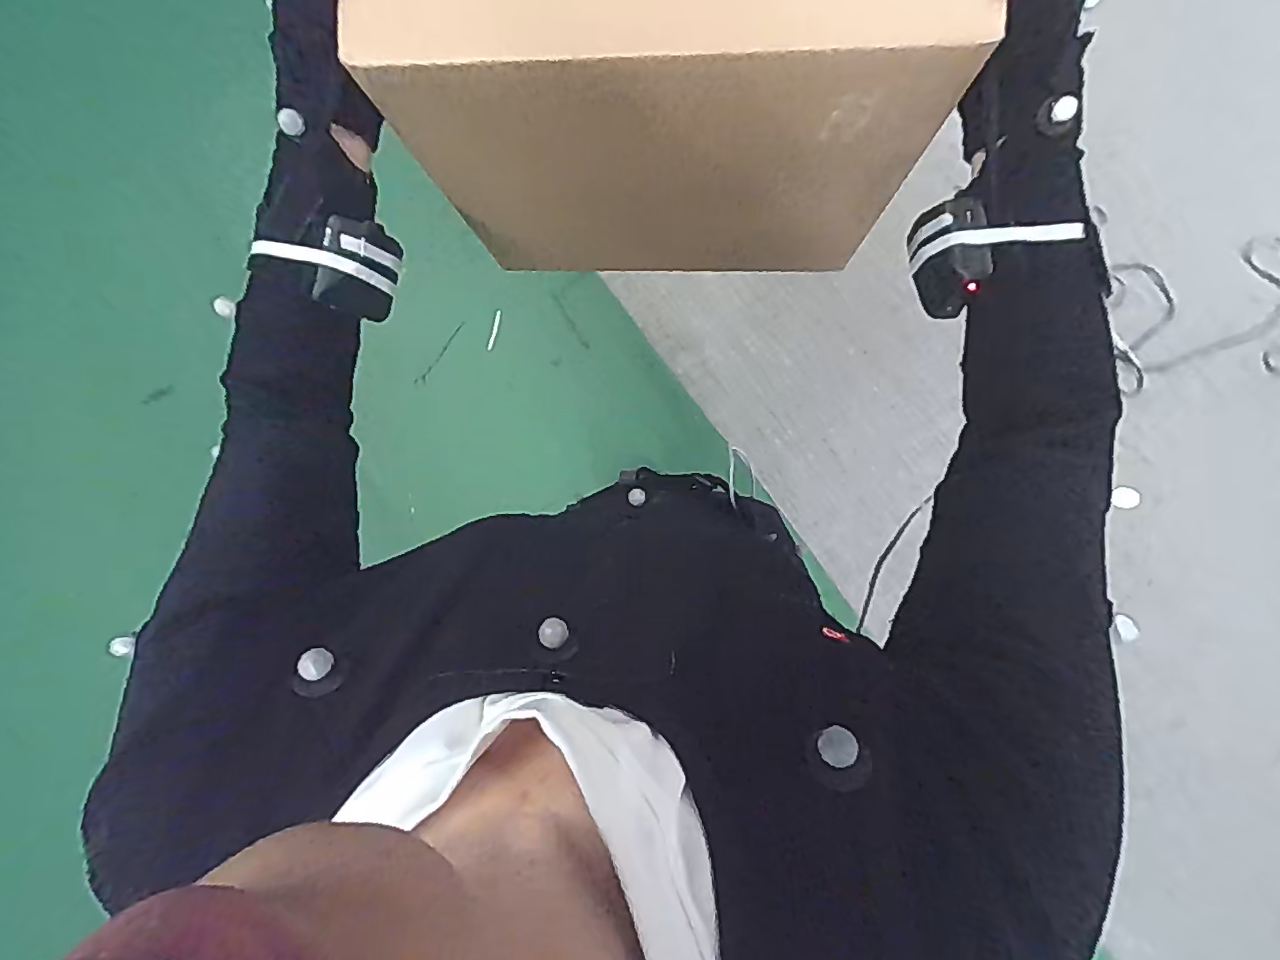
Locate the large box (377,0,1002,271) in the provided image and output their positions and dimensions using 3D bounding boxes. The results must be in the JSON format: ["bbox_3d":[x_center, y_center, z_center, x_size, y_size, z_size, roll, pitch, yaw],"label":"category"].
[{"bbox_3d":[0.036,-0.406,0.499,0.408,0.320,0.320,3,88,3],"label":"large box"}]
